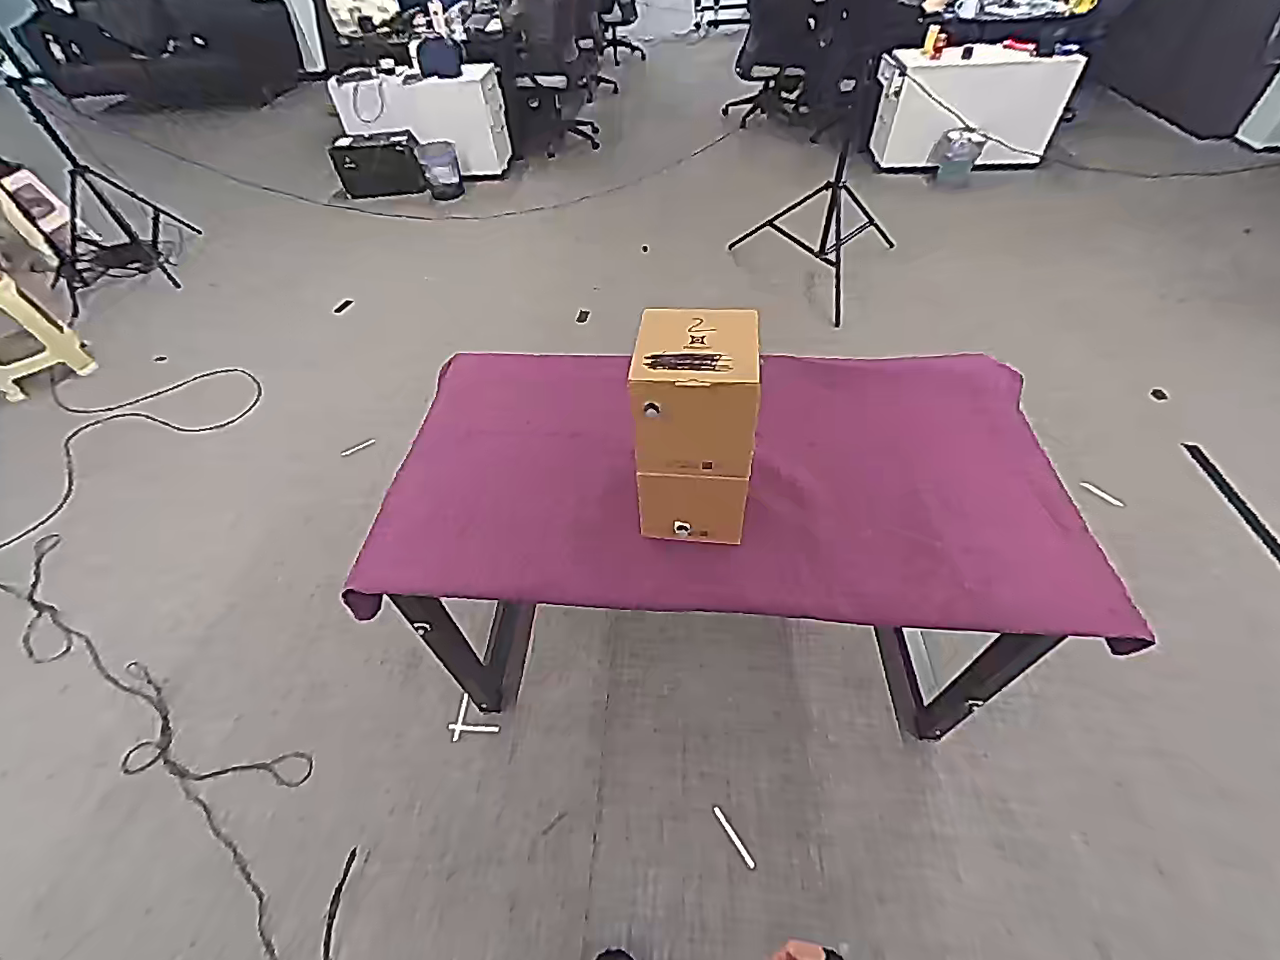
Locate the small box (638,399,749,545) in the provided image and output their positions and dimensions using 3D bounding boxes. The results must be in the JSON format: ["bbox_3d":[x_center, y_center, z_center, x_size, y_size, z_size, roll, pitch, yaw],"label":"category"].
[{"bbox_3d":[0.091,-0.014,0.906,0.168,0.176,0.179,3,49,7],"label":"small box"}]
